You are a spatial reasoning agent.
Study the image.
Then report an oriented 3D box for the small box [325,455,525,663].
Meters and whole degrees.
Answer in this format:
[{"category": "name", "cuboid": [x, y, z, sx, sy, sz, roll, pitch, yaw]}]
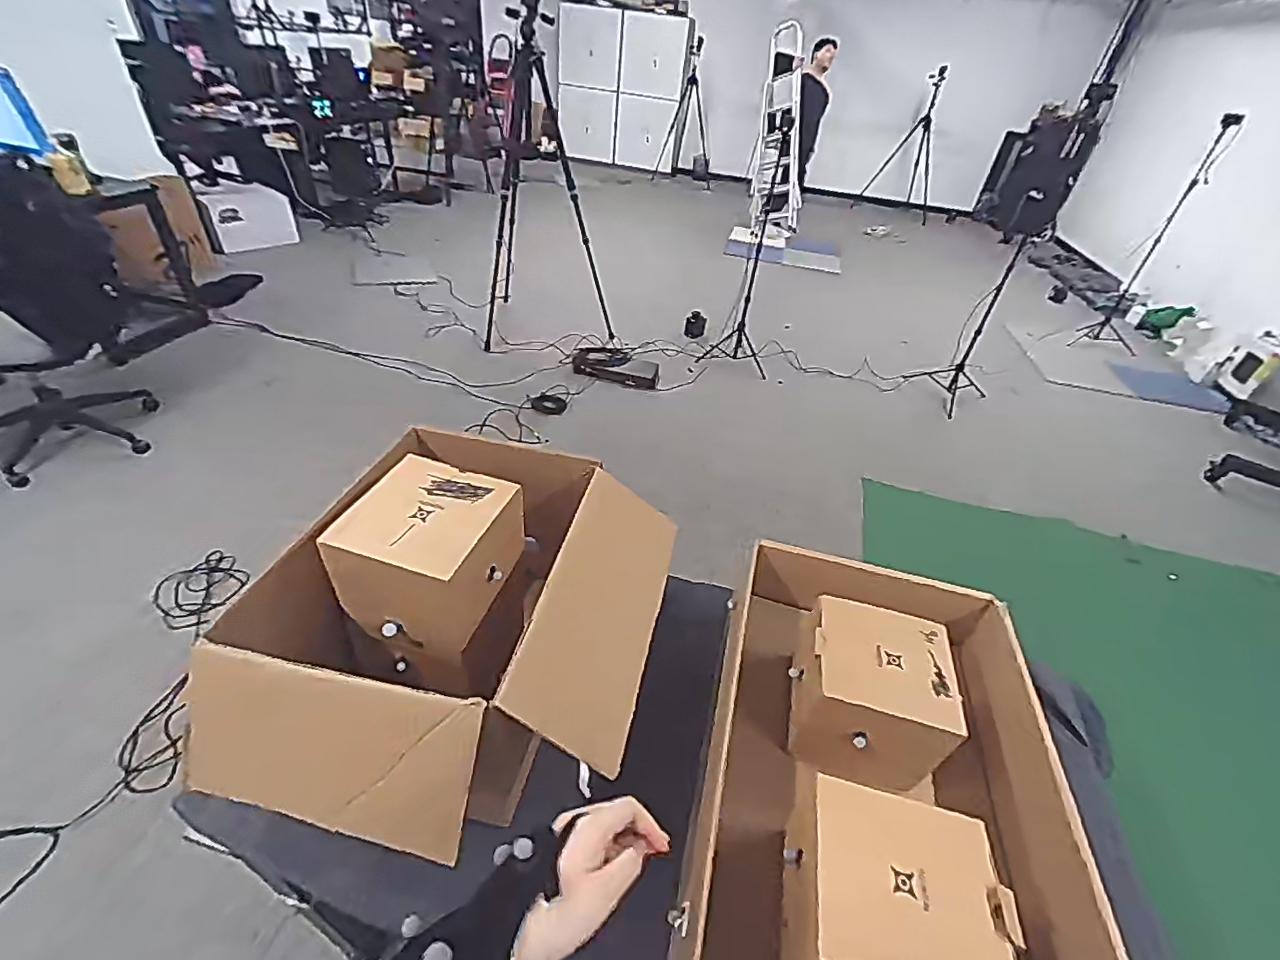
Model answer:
[{"category": "small box", "cuboid": [-0.261, 0.100, 0.702, 0.168, 0.176, 0.179, 15, 41, 9]}]
